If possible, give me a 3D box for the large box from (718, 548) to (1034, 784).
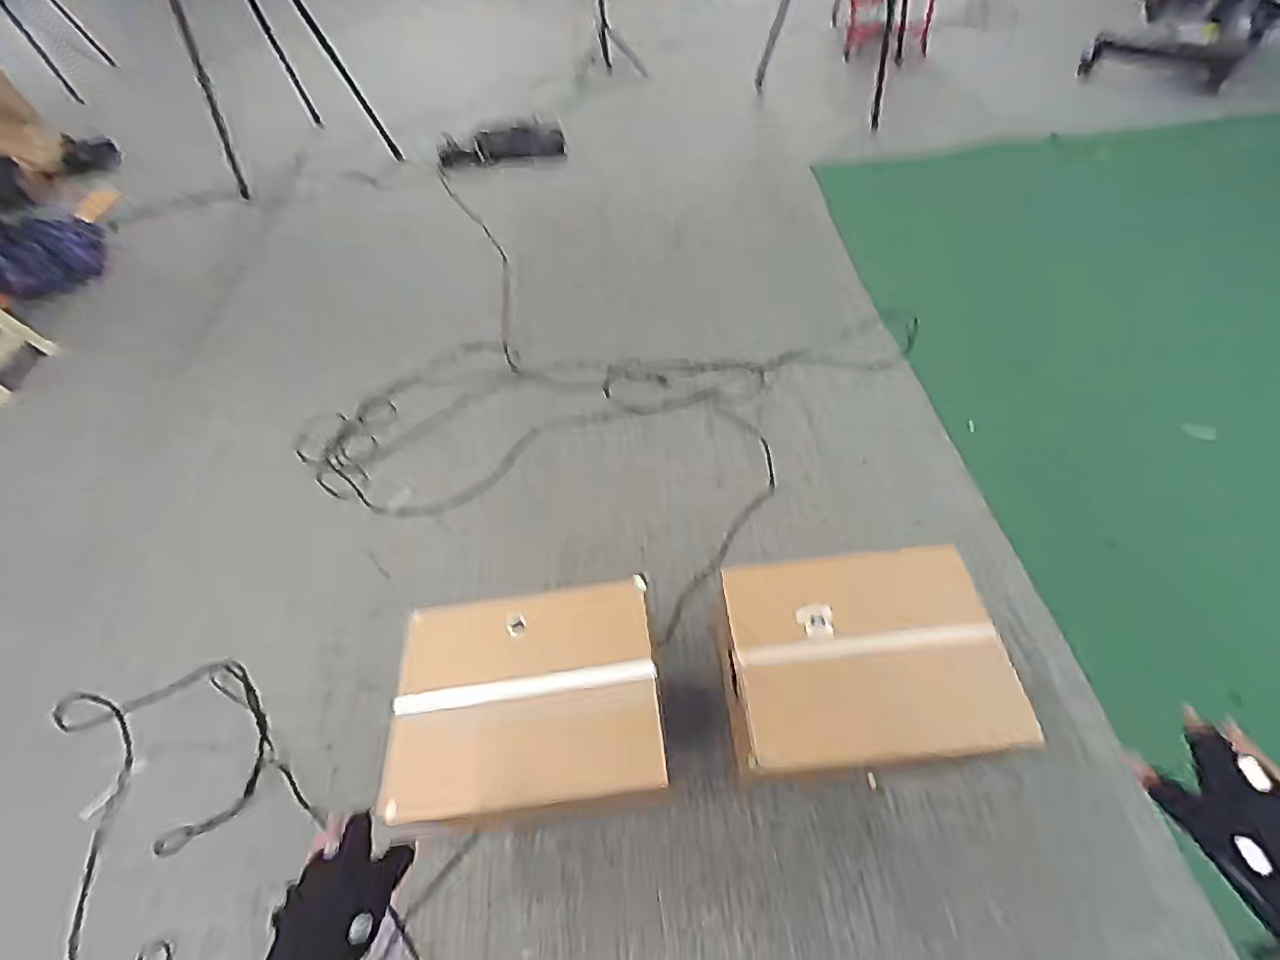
[{"bbox_3d":[0.366,0.346,0.975,0.408,0.320,0.320,-6,55,2],"label":"large box"}]
